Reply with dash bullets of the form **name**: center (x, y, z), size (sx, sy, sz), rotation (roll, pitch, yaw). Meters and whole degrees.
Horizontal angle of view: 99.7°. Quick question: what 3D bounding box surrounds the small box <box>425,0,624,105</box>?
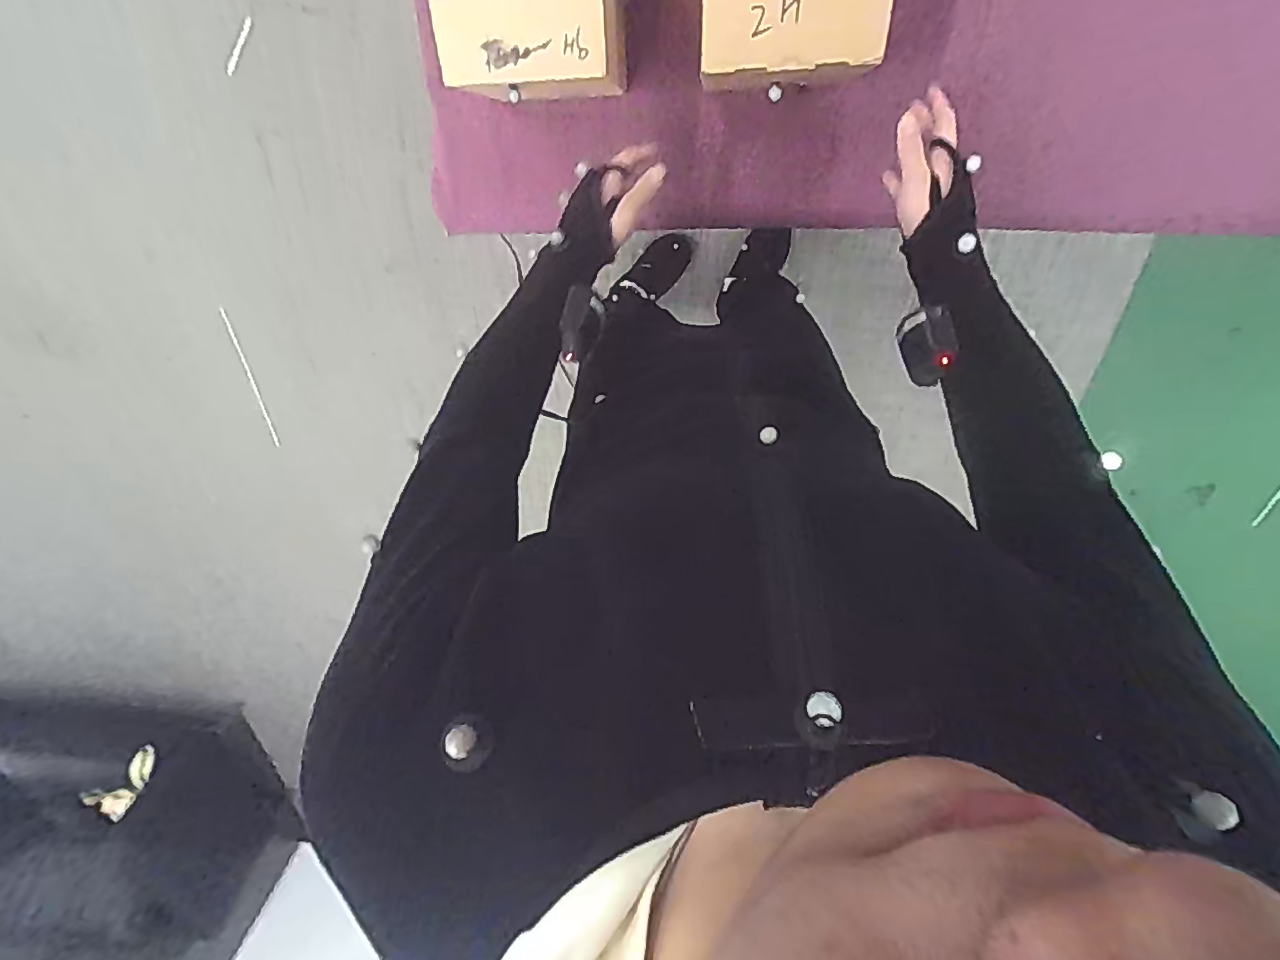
- **small box**: center (-0.109, -0.498, 0.547), size (0.168, 0.176, 0.179), rotation (2, 120, 7)

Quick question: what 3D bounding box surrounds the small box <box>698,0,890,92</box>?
- **small box**: center (0.141, -0.494, 0.521), size (0.168, 0.176, 0.179), rotation (1, 121, 6)
